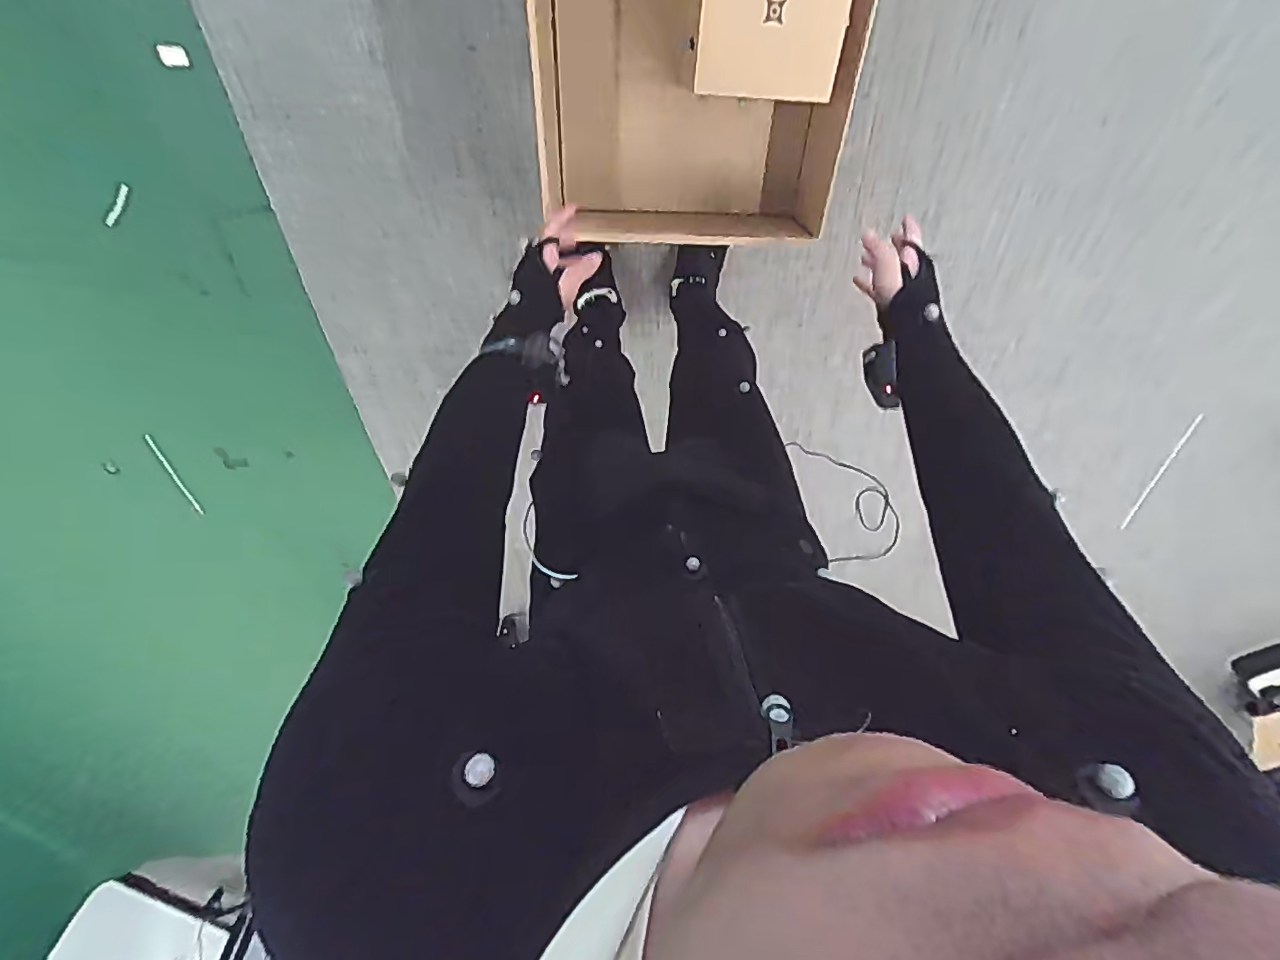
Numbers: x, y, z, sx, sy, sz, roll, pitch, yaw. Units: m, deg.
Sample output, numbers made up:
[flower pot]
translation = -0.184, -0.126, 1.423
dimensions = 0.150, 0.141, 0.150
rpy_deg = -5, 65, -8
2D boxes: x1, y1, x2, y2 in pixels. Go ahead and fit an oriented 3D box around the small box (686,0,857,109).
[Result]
[small box]
translation = 0.150, -0.562, 0.644
dimensions = 0.168, 0.176, 0.179
rpy_deg = 1, 128, -4
